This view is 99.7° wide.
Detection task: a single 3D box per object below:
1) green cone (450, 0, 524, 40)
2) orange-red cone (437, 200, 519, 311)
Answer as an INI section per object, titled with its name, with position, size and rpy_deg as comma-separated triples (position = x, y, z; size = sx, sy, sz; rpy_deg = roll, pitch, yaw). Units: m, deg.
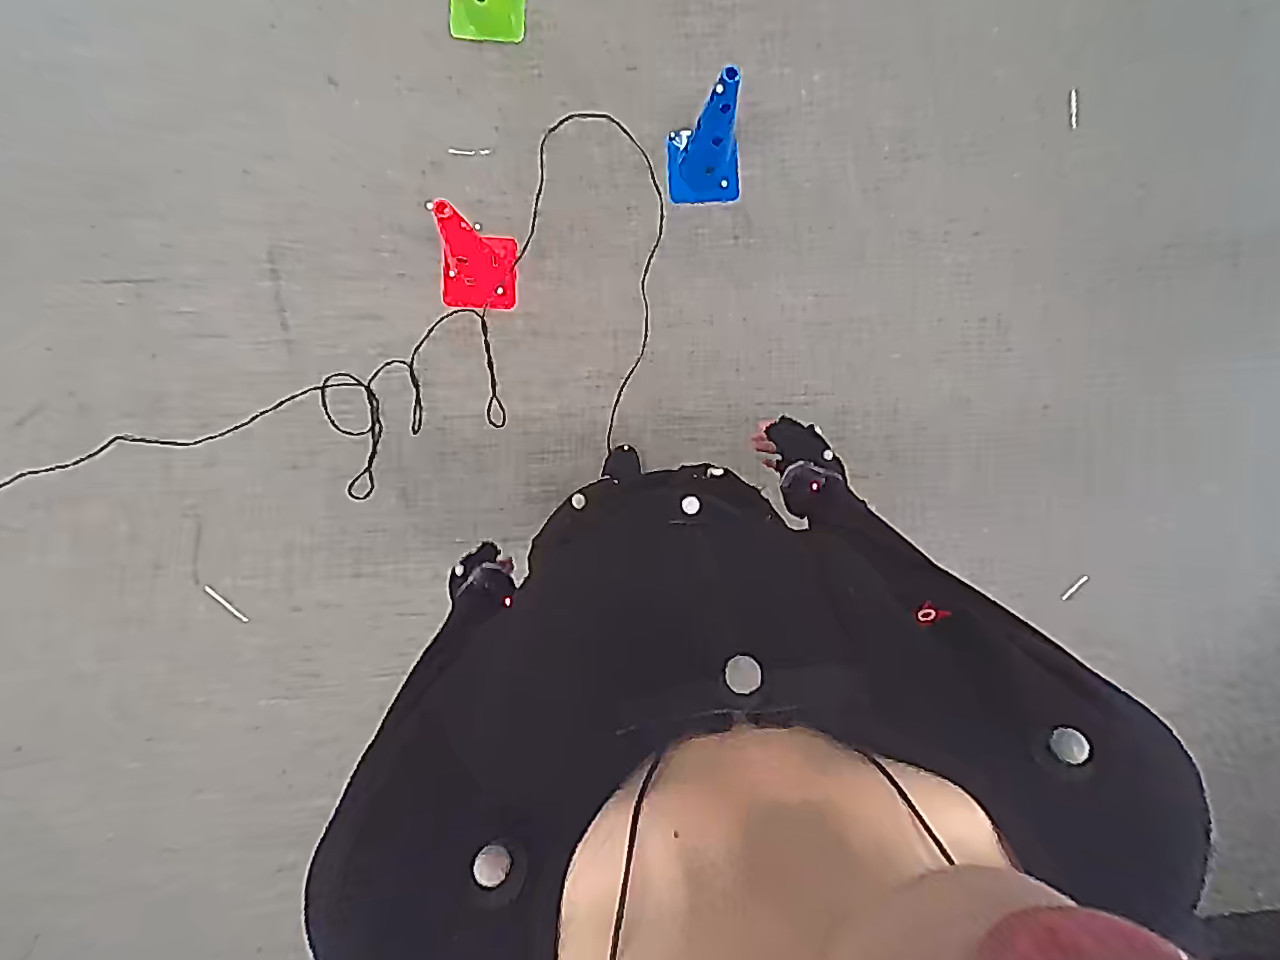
[green cone]
position = -0.409, -1.301, 1.302
size = 0.200, 0.368, 0.202
rpy_deg = 0, 91, -3
[orange-red cone]
position = -0.420, -0.569, 1.306
size = 0.198, 0.360, 0.199
rpy_deg = 2, 88, -4
